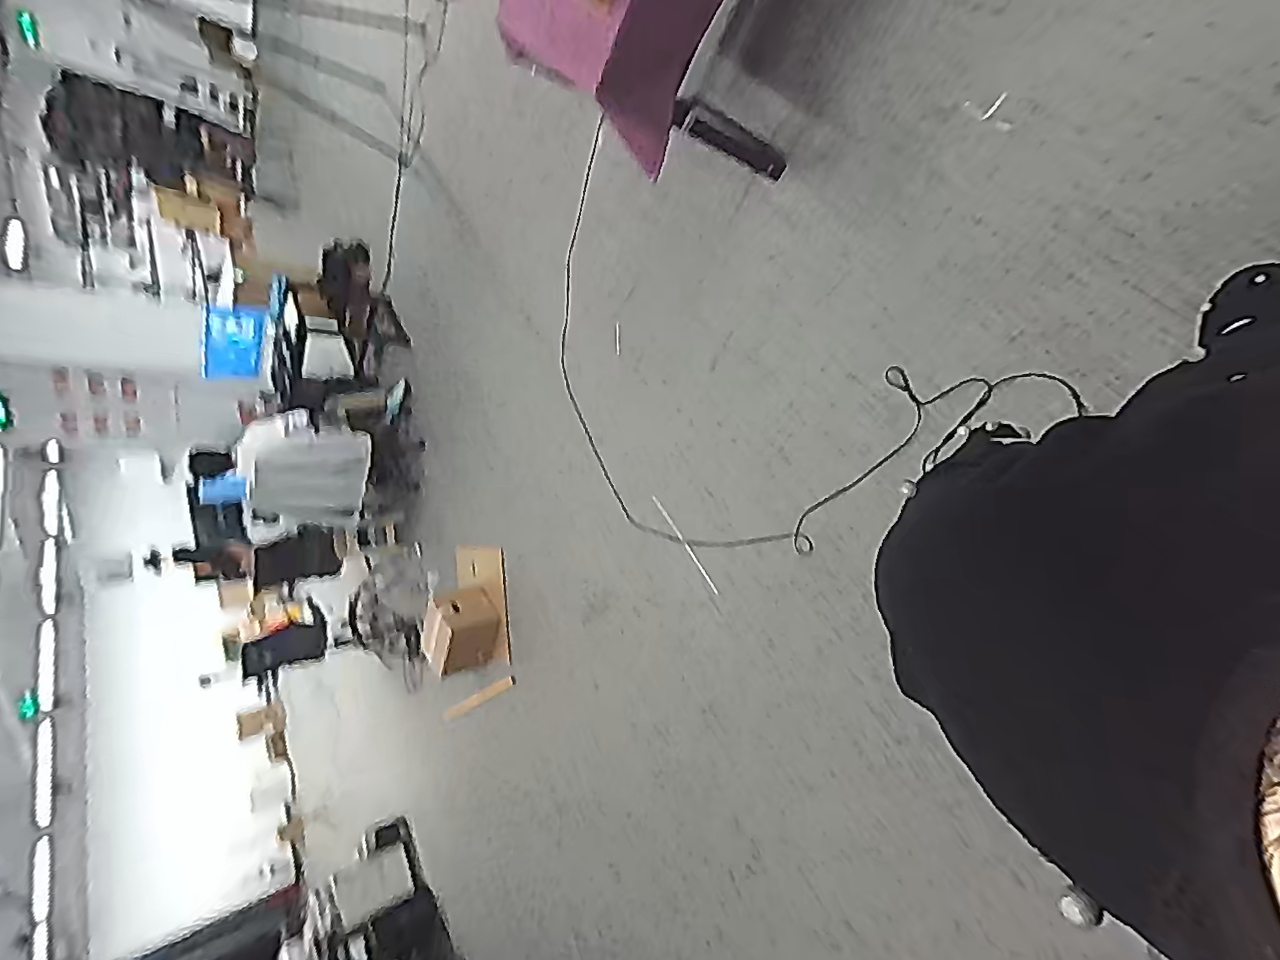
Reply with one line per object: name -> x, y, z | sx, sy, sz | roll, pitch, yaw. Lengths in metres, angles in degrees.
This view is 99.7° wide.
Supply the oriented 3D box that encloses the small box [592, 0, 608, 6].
small box -> -0.128, -1.134, 1.110 | 0.168, 0.176, 0.179 | 55, 128, 29
